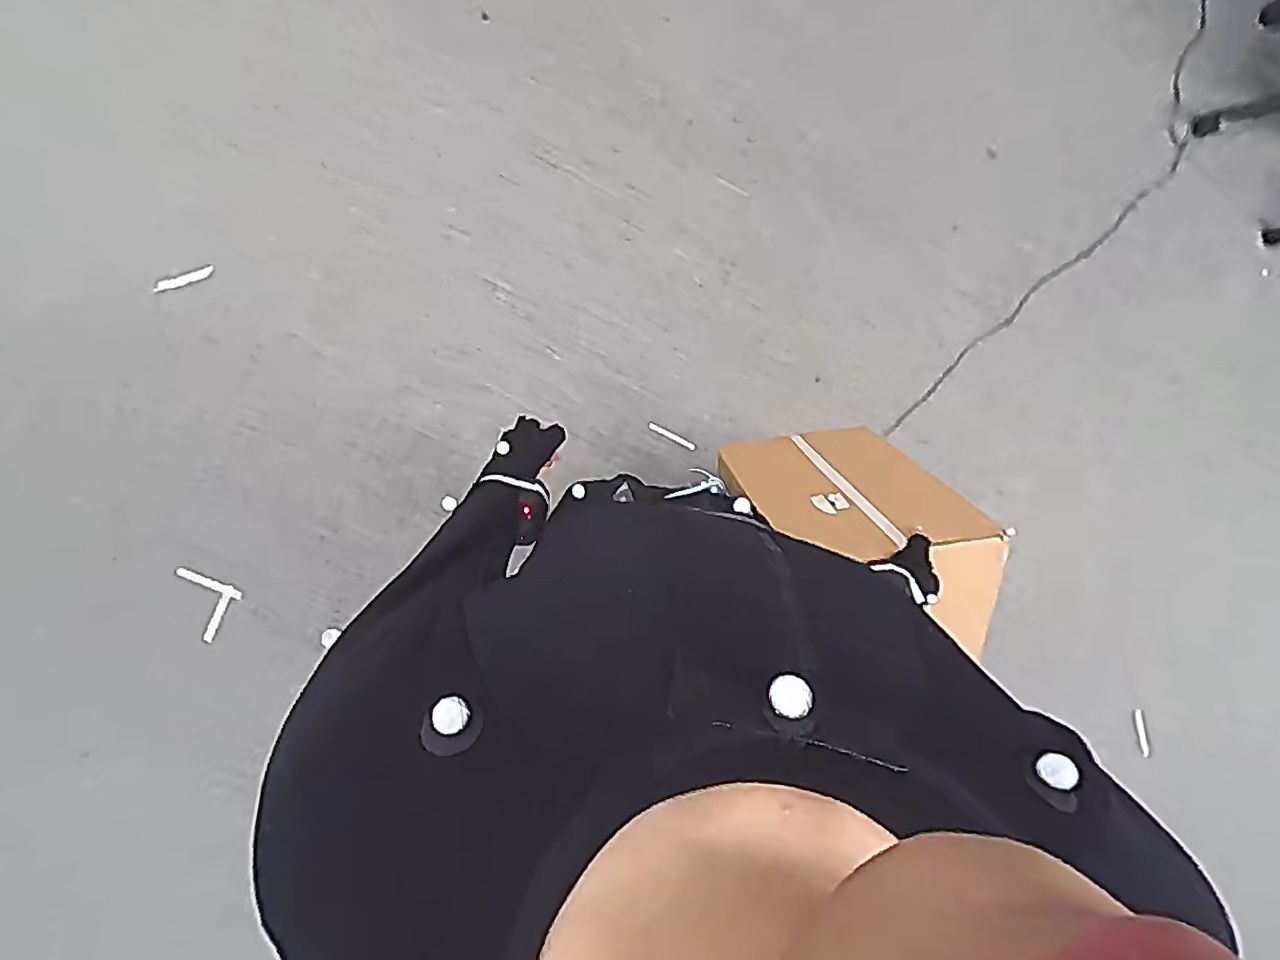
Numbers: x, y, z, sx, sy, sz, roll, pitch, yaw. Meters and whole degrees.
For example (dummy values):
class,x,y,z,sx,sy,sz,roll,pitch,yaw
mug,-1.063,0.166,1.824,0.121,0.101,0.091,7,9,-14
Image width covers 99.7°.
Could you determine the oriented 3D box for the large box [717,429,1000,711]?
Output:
class,x,y,z,sx,sy,sz,roll,pitch,yaw
large box,0.340,0.137,0.990,0.320,0.408,0.320,-8,119,-4
